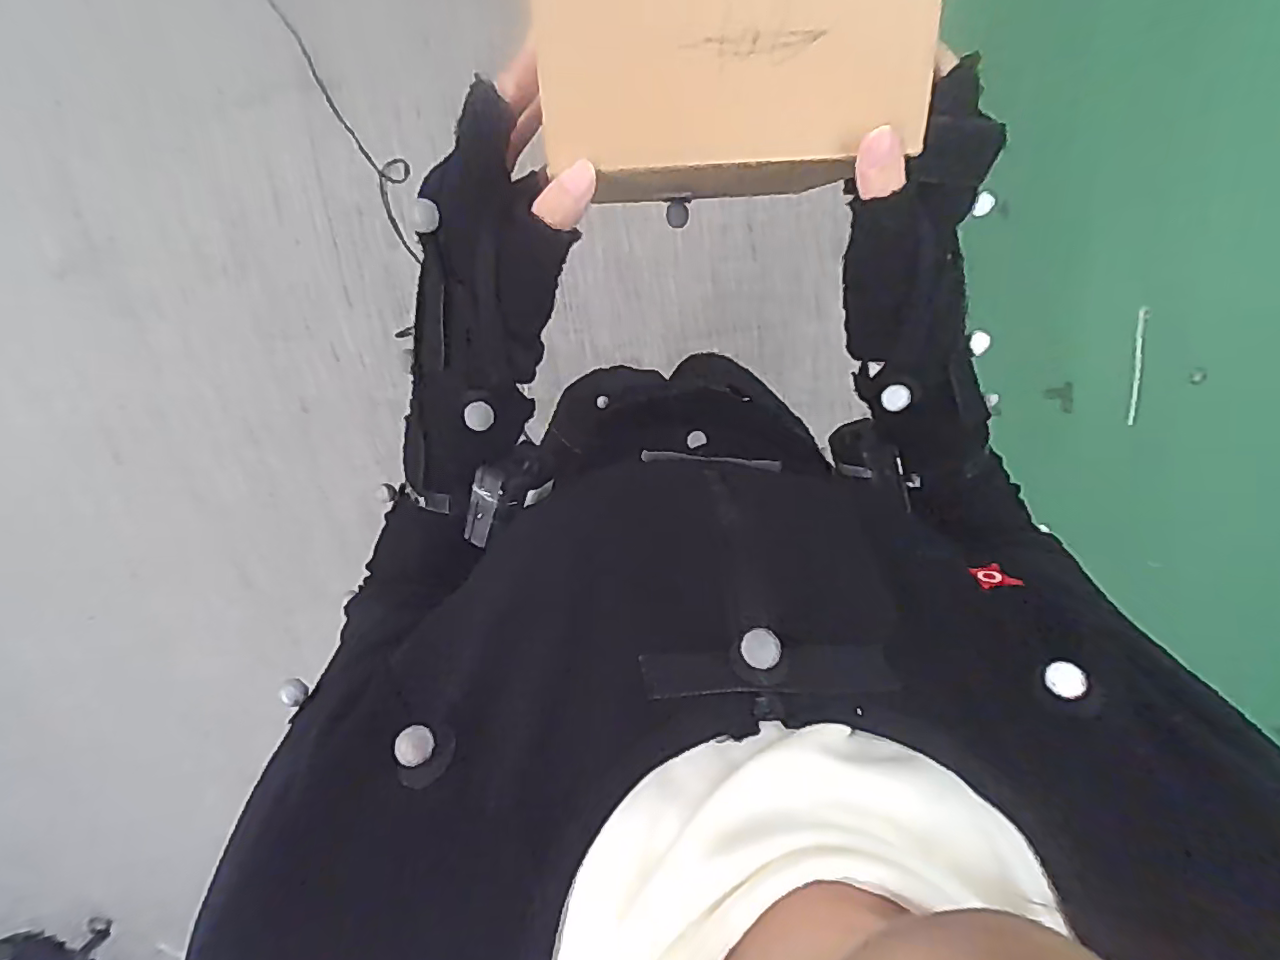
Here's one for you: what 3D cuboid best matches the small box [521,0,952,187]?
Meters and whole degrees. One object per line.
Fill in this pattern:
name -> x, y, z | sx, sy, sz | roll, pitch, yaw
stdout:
small box -> 0.030, -0.251, 0.259 | 0.168, 0.176, 0.179 | -3, 113, -2
